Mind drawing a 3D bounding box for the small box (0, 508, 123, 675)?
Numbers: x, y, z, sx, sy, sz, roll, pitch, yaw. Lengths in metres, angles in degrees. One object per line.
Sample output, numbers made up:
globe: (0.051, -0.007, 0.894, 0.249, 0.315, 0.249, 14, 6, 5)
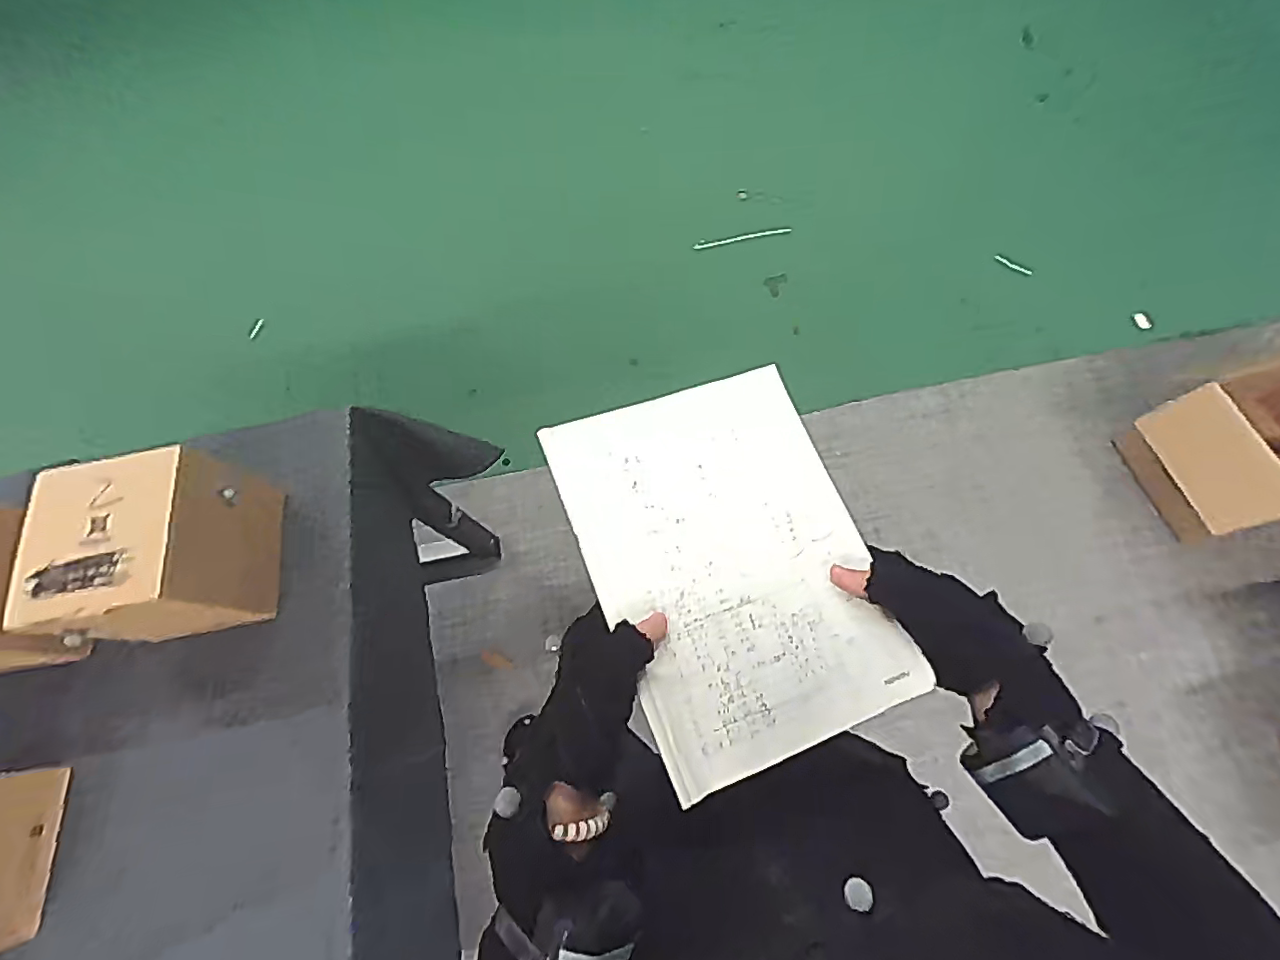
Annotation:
small box: (-0.798, 0.142, 0.650, 0.179, 0.176, 0.168, -9, 69, 1)

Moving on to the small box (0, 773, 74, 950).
small box: (-0.751, 0.410, 0.549, 0.179, 0.176, 0.168, -9, 69, 1)
